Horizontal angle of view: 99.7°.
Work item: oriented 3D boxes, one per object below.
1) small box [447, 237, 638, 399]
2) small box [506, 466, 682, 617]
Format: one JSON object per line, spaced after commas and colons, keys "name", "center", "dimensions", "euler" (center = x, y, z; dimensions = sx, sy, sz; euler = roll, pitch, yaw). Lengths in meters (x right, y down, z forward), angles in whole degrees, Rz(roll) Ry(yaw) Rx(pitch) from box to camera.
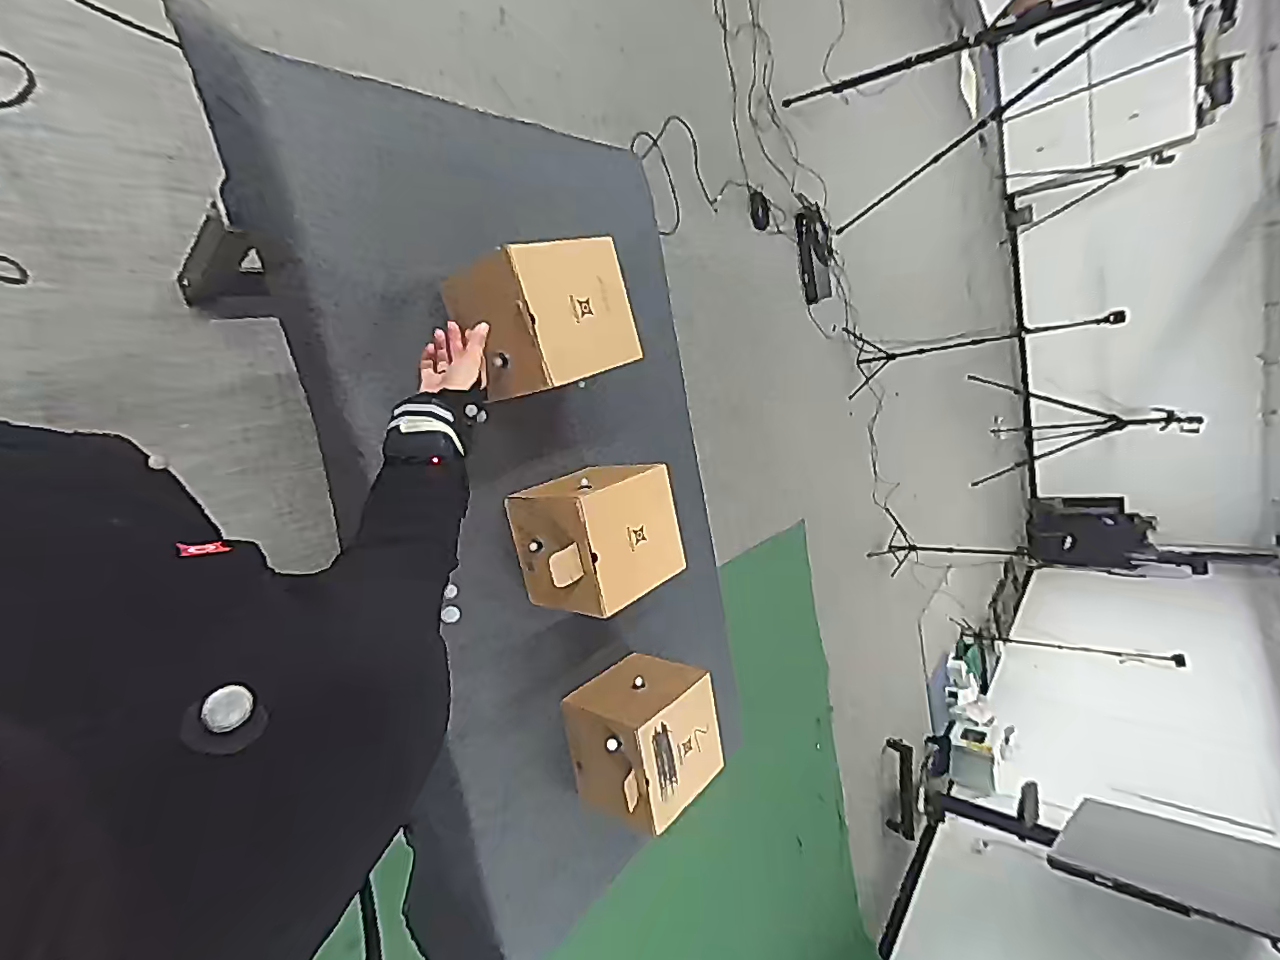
{"name": "small box", "center": [-0.136, -0.216, 0.733], "dimensions": [0.179, 0.176, 0.168], "euler": [-32, 113, -44]}
{"name": "small box", "center": [-0.066, 0.078, 0.798], "dimensions": [0.179, 0.176, 0.168], "euler": [-23, 105, -44]}
